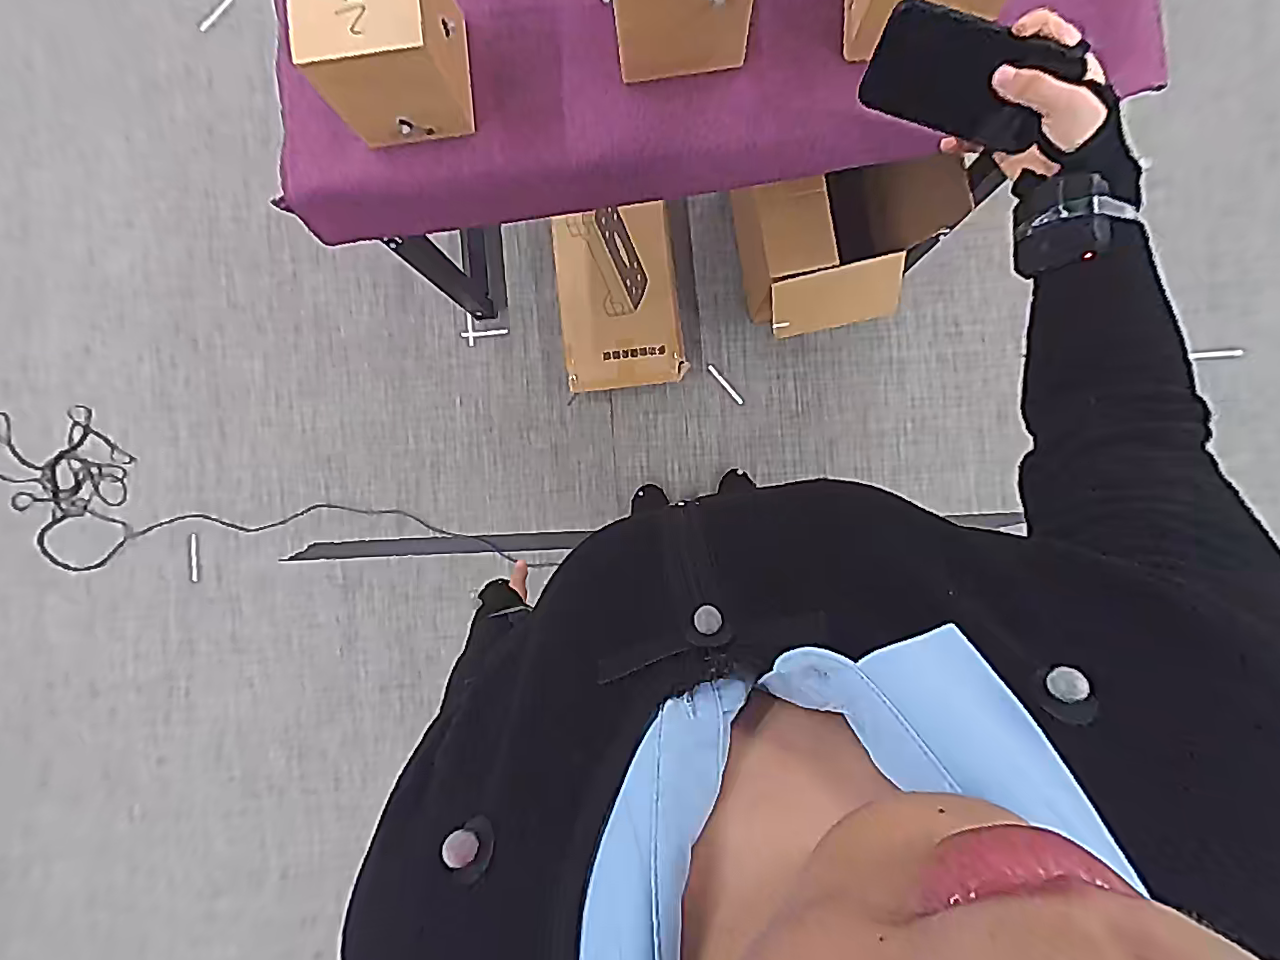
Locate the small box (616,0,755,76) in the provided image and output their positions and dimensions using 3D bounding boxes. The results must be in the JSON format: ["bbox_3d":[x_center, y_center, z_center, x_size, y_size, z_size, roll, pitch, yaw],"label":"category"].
[{"bbox_3d":[0.054,-0.666,0.692,0.179,0.176,0.168,-6,87,4],"label":"small box"}]

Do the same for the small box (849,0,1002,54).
[{"bbox_3d":[0.372,-0.674,0.674,0.179,0.176,0.168,1,90,3],"label":"small box"}]
